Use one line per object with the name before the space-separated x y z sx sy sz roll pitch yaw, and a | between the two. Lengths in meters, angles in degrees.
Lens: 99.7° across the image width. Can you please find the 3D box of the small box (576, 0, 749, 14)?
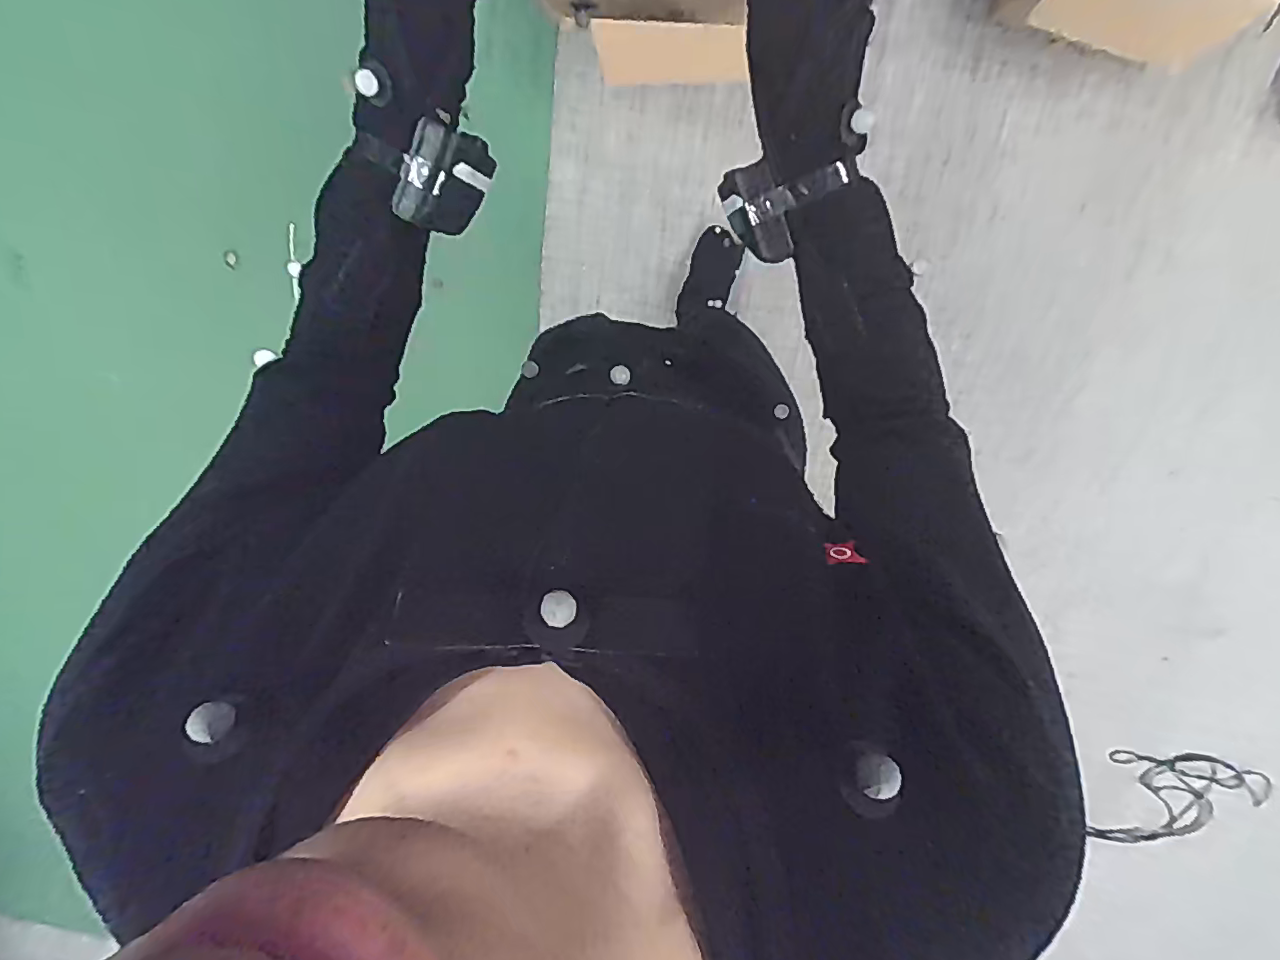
small box | 0.006 -0.427 0.334 0.168 0.176 0.179 5 112 3
